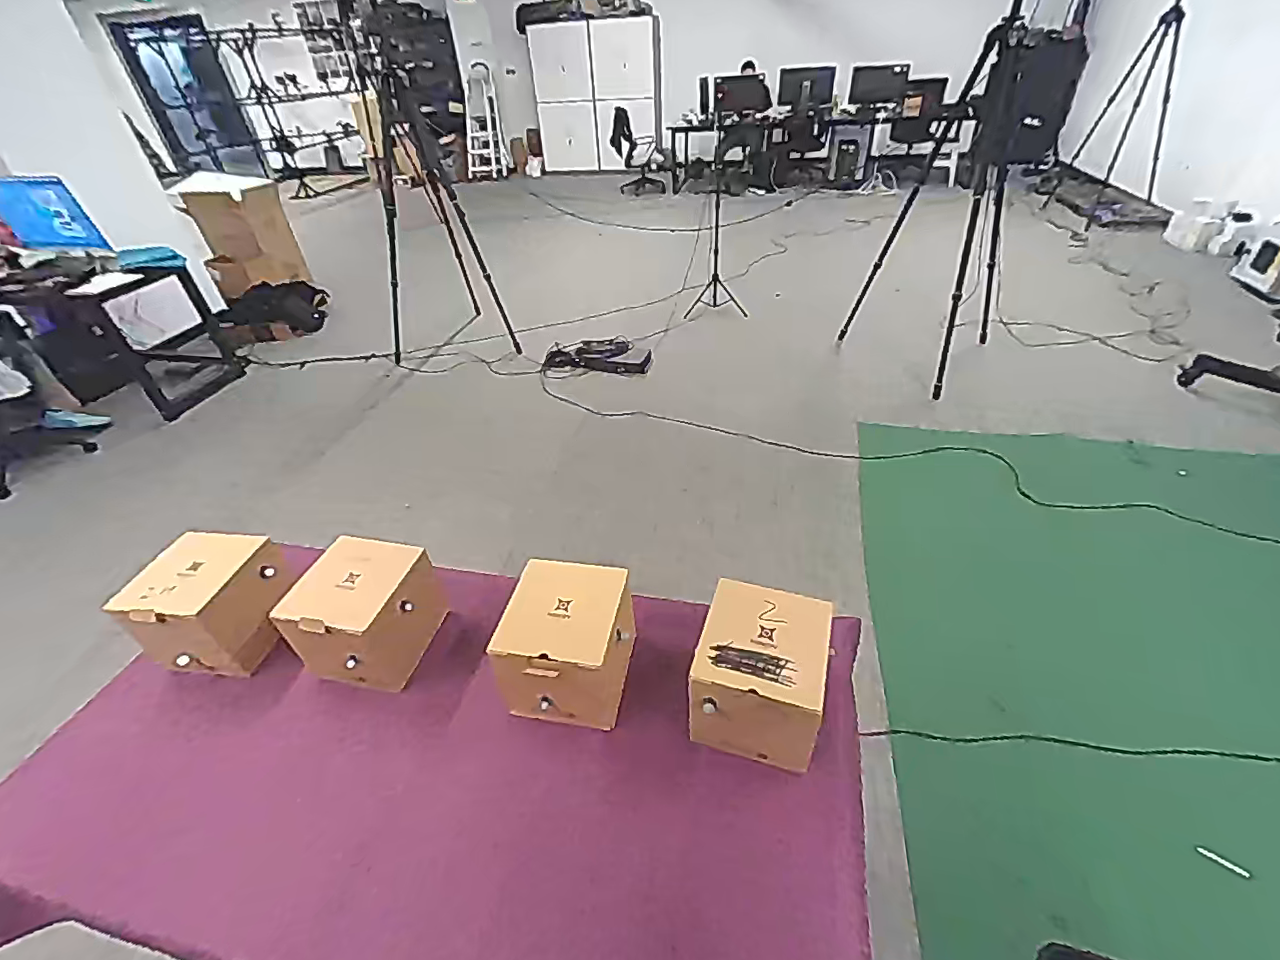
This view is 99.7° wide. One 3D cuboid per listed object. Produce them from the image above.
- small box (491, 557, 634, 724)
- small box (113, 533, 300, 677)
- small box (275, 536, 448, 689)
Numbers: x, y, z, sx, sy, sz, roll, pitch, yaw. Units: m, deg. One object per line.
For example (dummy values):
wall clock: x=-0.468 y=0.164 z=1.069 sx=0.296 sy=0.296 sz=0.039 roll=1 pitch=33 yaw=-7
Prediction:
small box: x=-0.107 y=0.246 z=0.841 sx=0.168 sy=0.176 sz=0.179 roll=4 pitch=40 yaw=11
small box: x=-0.728 y=0.215 z=0.944 sx=0.168 sy=0.176 sz=0.179 roll=2 pitch=40 yaw=8
small box: x=-0.448 y=0.222 z=0.908 sx=0.168 sy=0.176 sz=0.179 roll=6 pitch=40 yaw=12
